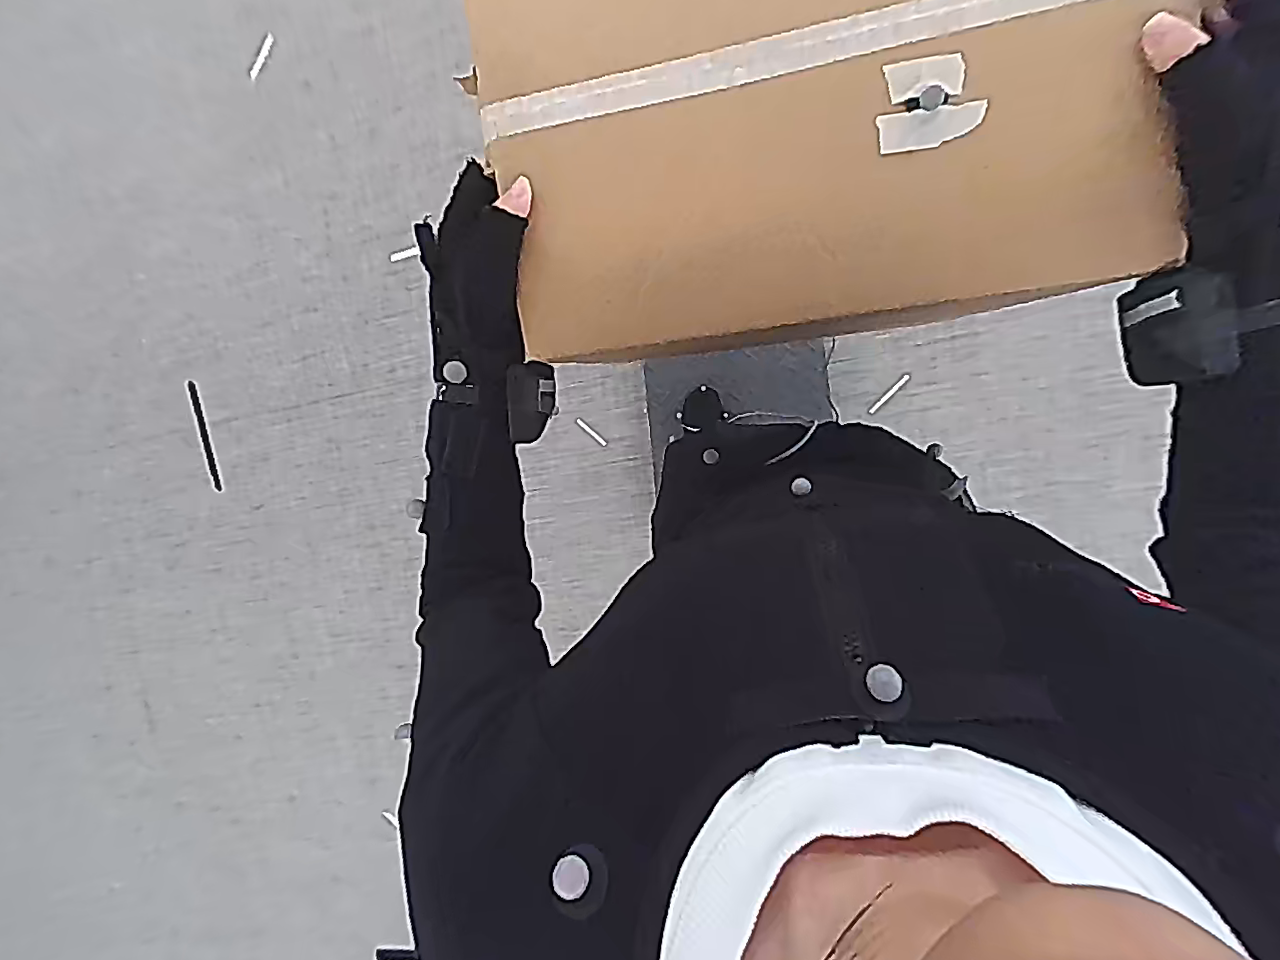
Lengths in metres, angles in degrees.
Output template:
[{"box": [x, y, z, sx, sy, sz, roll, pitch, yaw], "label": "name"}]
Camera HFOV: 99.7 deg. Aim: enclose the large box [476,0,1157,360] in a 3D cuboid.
[{"box": [0.116, -0.294, 0.482, 0.408, 0.320, 0.320, -6, 101, 10], "label": "large box"}]
